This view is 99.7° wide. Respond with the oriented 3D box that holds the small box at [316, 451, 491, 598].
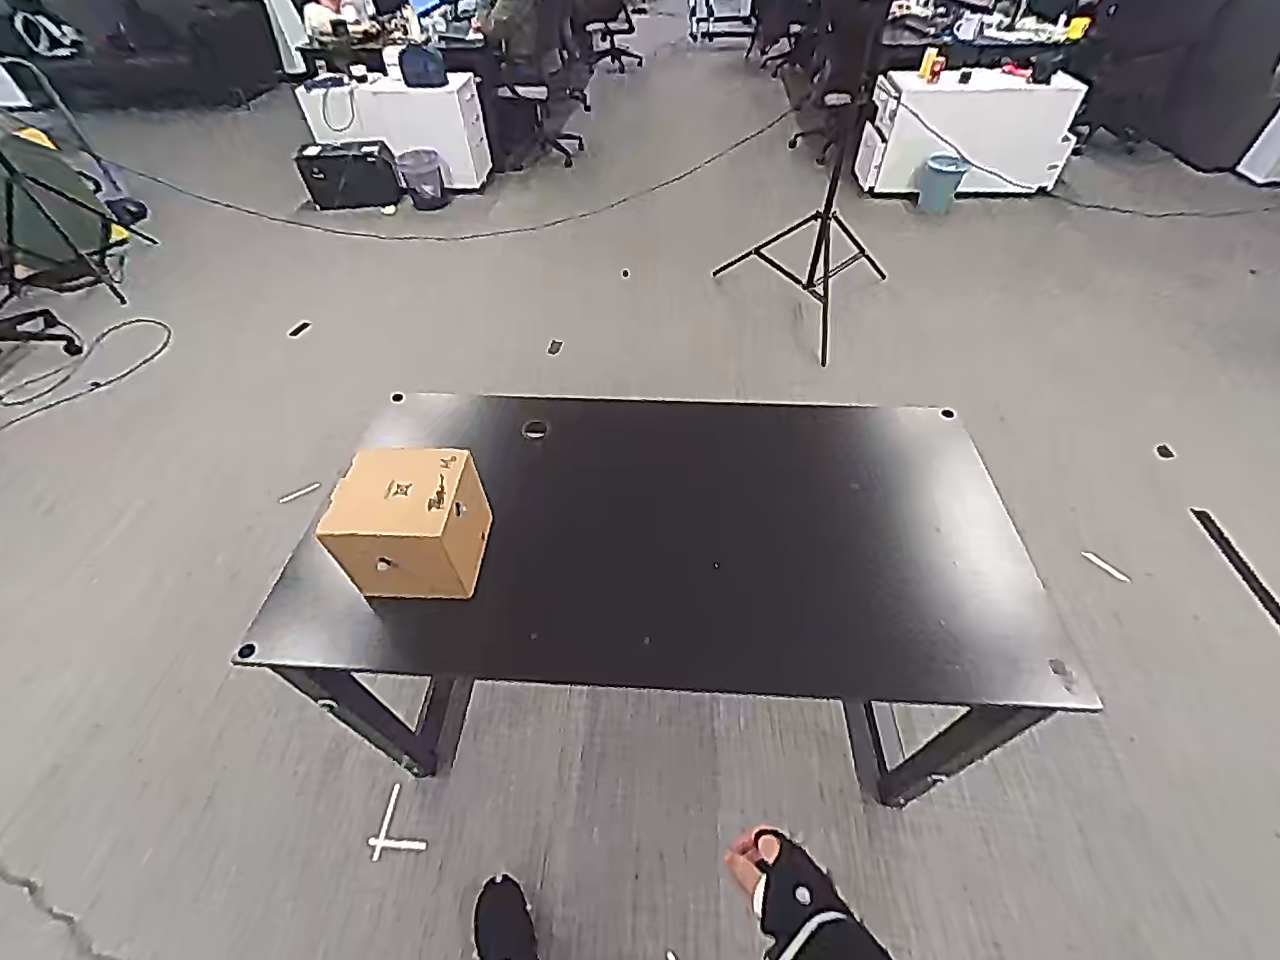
[{"bbox_3d":[-0.349,0.072,0.839,0.179,0.176,0.168,0,48,2],"label":"small box"}]
